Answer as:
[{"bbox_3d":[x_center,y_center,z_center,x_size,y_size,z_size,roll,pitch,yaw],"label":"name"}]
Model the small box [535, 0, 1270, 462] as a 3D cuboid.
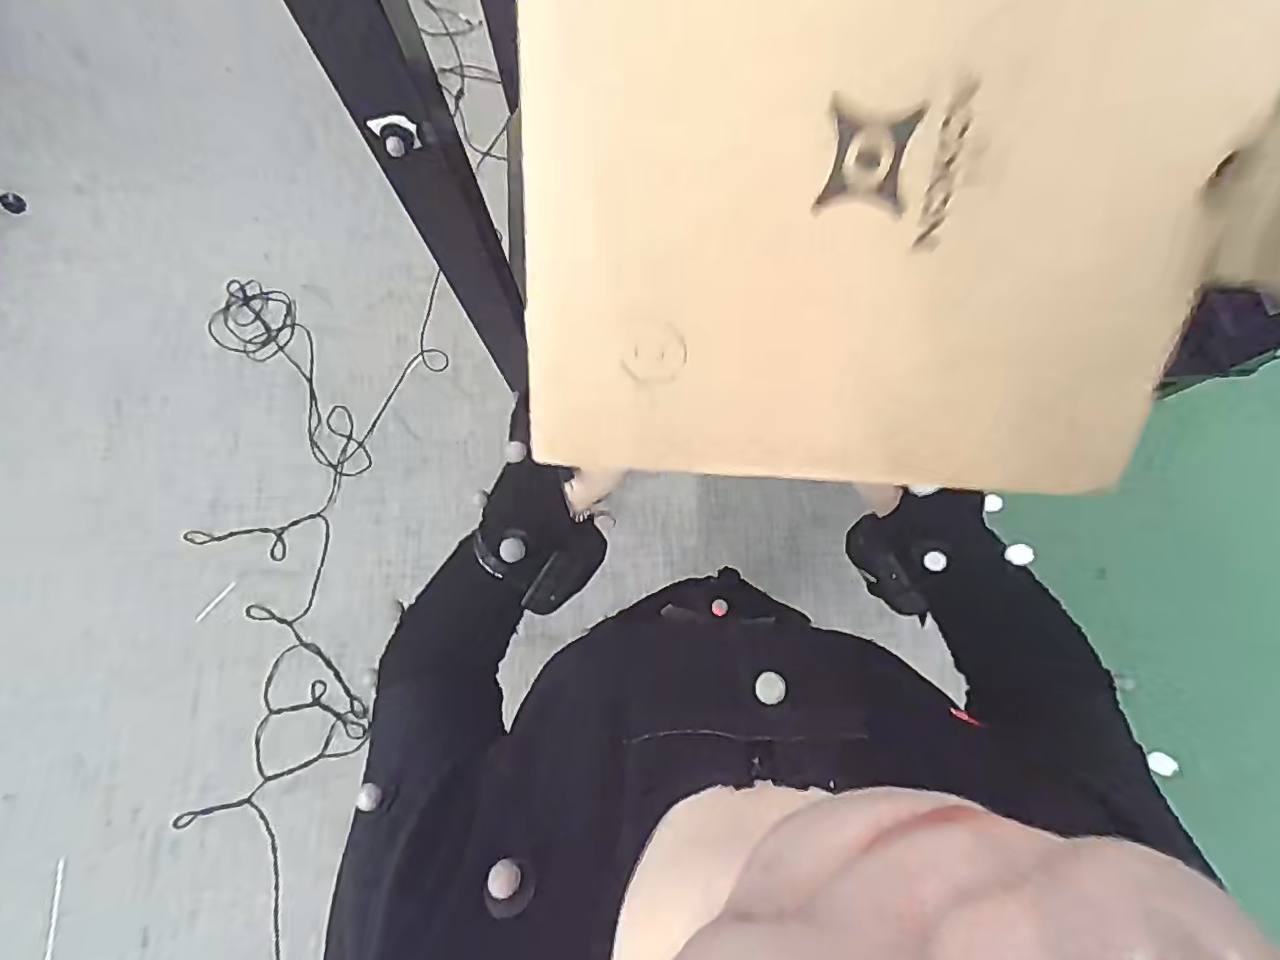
[{"bbox_3d":[0.061,-0.116,0.214,0.179,0.176,0.168,3,113,-1],"label":"small box"}]
